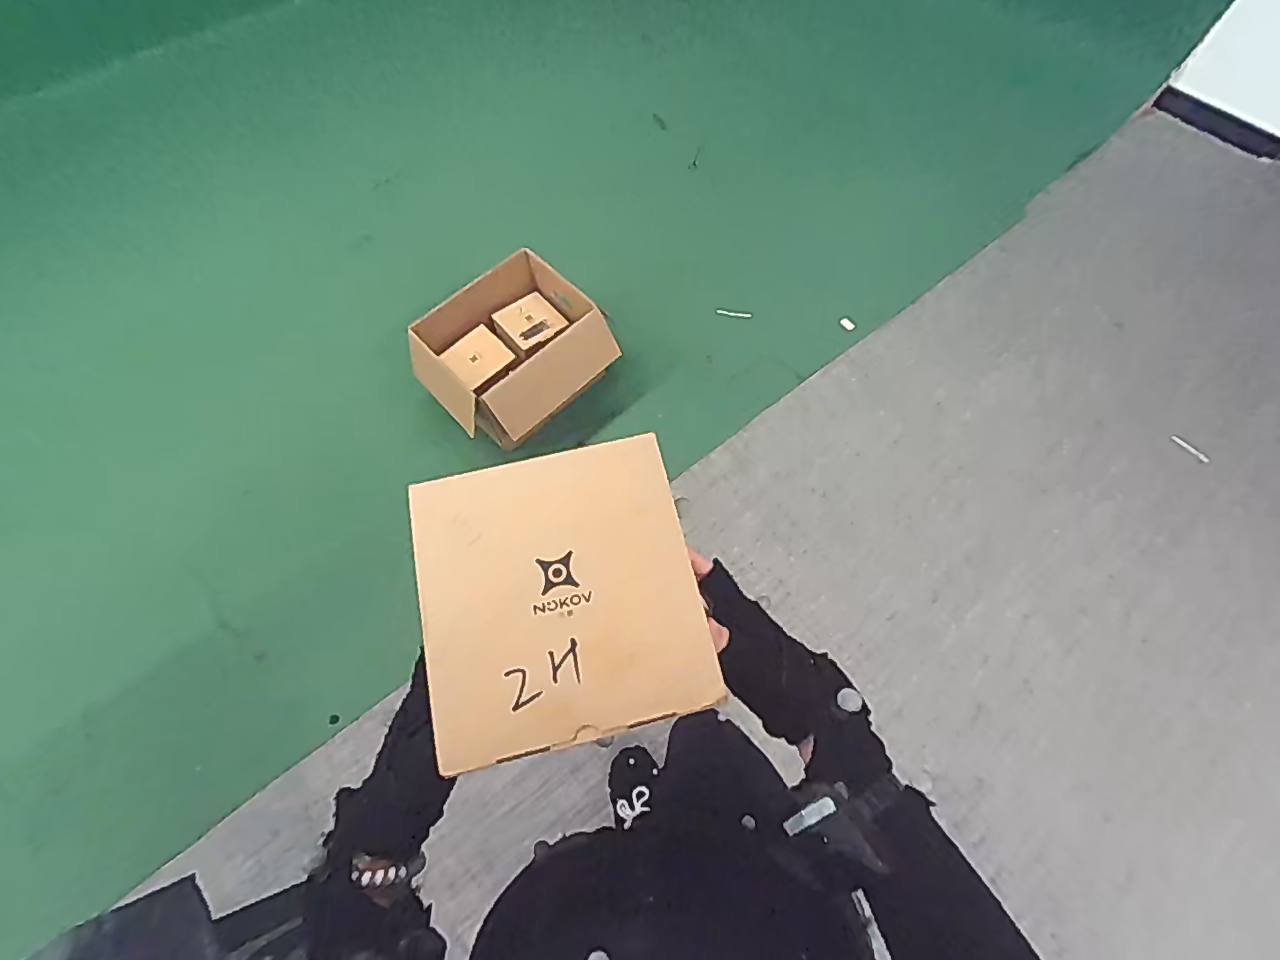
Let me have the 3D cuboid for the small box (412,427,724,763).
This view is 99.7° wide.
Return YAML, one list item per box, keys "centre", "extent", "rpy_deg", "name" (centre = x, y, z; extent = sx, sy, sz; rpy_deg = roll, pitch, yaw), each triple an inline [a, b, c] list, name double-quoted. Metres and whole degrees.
- centre: [-0.050, 0.086, 0.404]
  extent: [0.168, 0.176, 0.179]
  rpy_deg: [-13, 72, -4]
  name: "small box"
